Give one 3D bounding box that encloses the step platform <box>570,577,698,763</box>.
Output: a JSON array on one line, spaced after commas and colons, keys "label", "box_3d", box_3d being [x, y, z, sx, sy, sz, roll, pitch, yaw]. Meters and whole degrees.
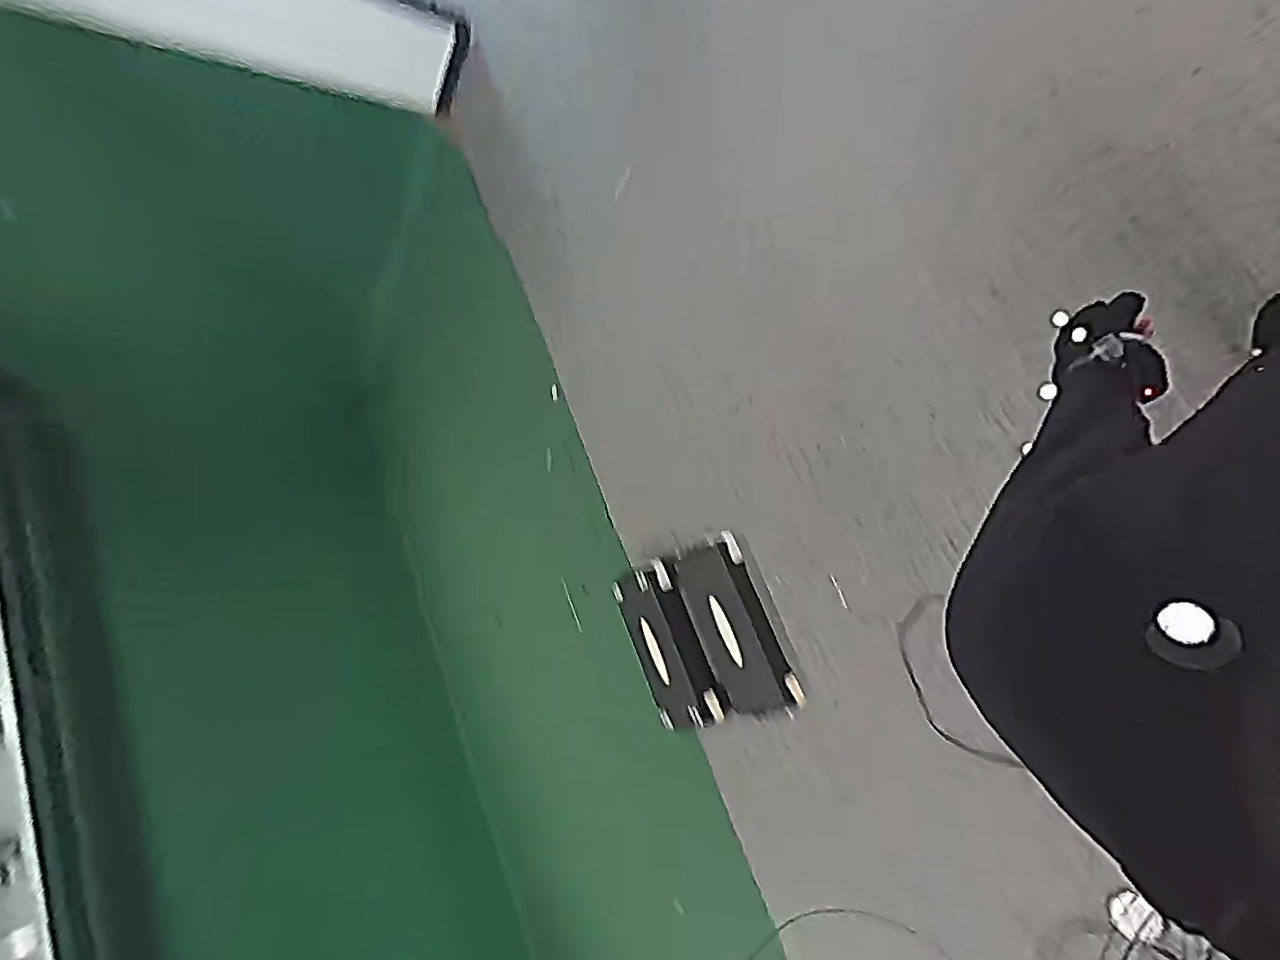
[{"label": "step platform", "box_3d": [-0.029, 0.740, 2.154, 0.286, 0.204, 0.684, -34, 76, 48]}]
